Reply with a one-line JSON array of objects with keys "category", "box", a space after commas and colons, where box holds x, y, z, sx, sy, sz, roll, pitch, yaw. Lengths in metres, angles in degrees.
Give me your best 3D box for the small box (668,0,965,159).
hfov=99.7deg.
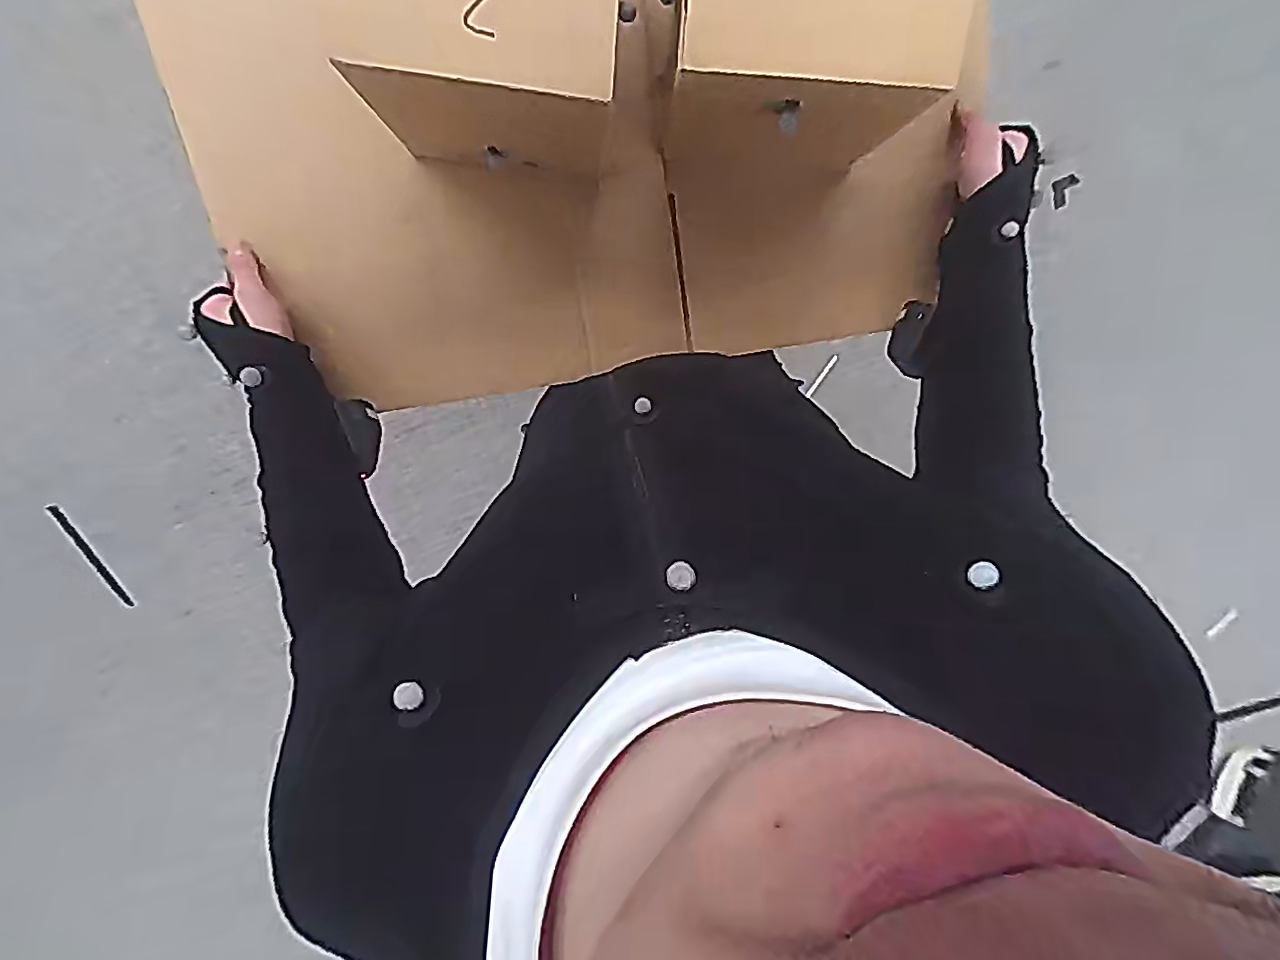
[{"category": "small box", "box": [0.117, -0.356, 0.402, 0.179, 0.176, 0.168, 3, 106, 0]}]
